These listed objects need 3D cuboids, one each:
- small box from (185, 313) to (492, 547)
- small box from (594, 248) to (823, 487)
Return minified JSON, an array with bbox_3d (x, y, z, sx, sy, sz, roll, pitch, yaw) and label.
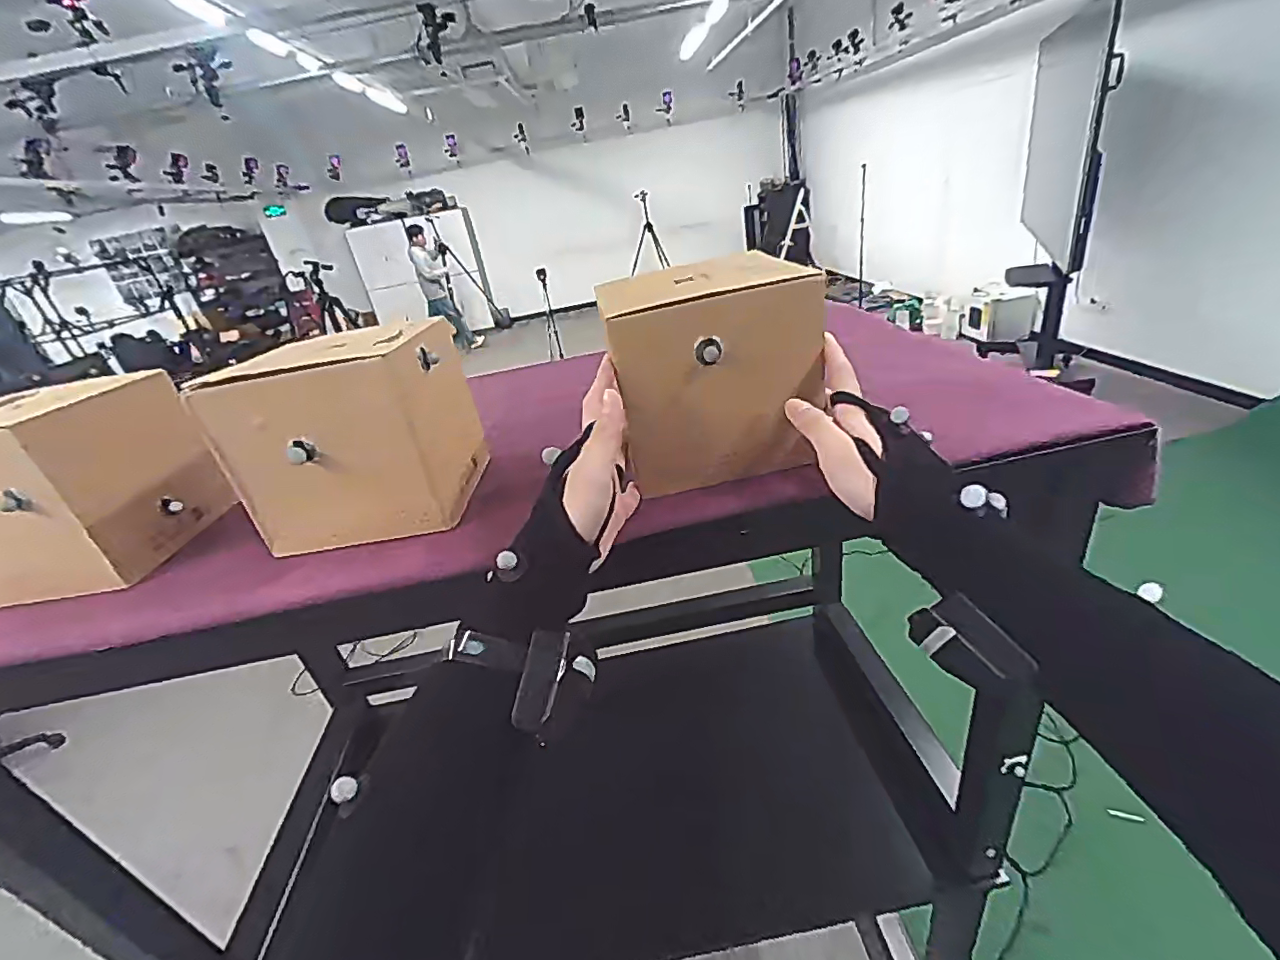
[{"bbox_3d":[-0.269,-0.051,0.534,0.179,0.176,0.168,-11,27,3],"label":"small box"},{"bbox_3d":[0.061,-0.109,0.515,0.179,0.176,0.168,-12,29,0],"label":"small box"}]
